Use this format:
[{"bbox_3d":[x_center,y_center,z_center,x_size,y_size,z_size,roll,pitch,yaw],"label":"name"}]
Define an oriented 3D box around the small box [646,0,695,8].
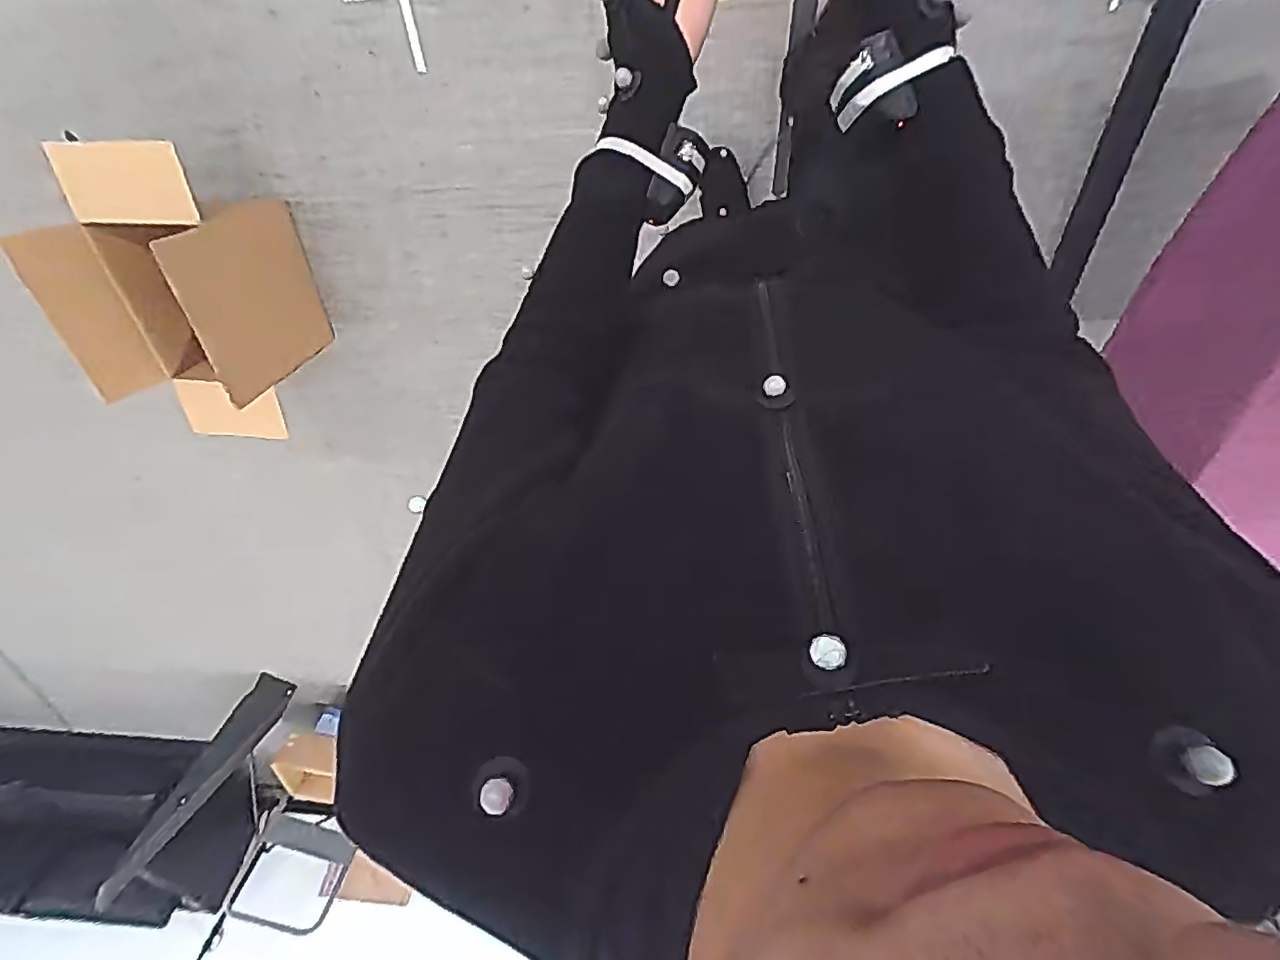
[{"bbox_3d":[0.060,-0.507,0.415,0.168,0.176,0.179,-14,116,9],"label":"small box"}]
